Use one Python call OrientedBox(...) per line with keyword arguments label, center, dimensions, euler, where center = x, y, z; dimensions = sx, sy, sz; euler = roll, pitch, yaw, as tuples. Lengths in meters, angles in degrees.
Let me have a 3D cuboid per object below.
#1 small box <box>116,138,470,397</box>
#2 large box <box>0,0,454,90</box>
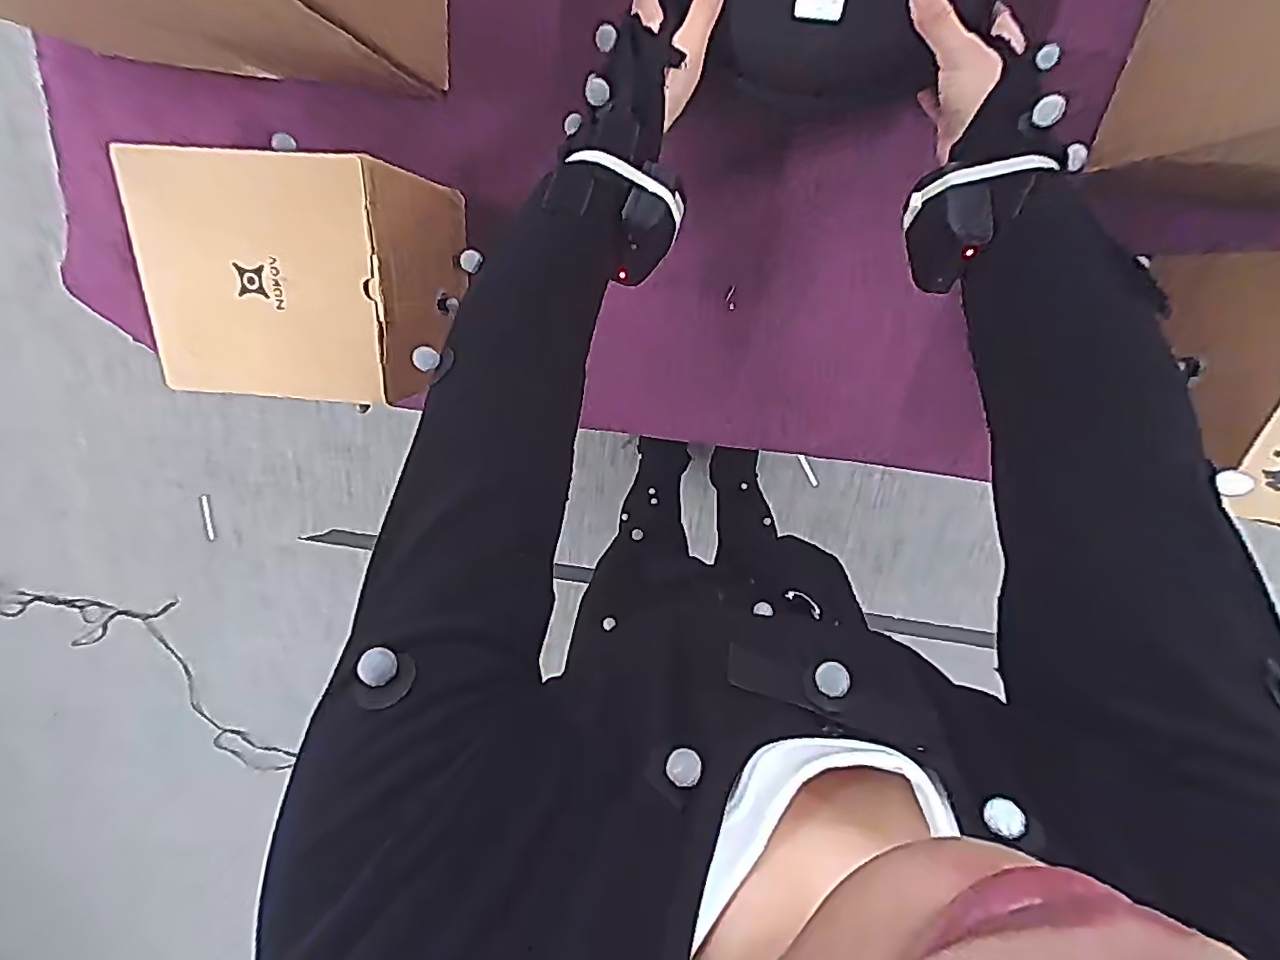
OrientedBox(label="small box", center=(-0.262, -0.170, 0.456), dimensions=(0.179, 0.176, 0.168), euler=(4, 110, 3))
OrientedBox(label="large box", center=(-0.300, -0.482, 0.264), dimensions=(0.320, 0.320, 0.408), euler=(7, 114, 1))
